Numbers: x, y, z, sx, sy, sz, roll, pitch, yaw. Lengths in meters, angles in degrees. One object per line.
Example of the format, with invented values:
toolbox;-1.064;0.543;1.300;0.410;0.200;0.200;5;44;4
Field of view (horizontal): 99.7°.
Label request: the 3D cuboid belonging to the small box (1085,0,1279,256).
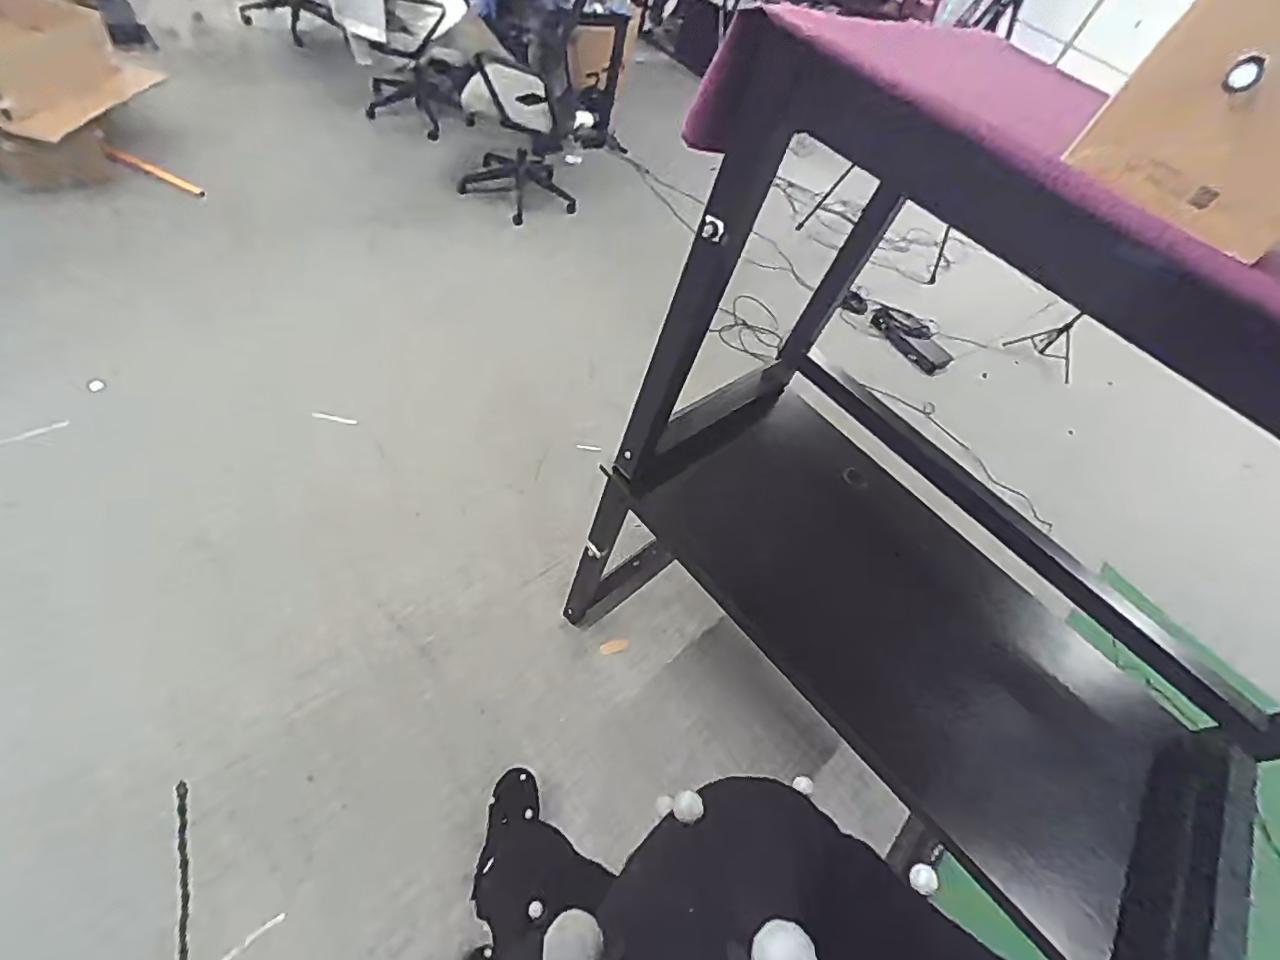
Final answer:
small box;0.492;-0.297;0.412;0.168;0.176;0.179;44;52;15
